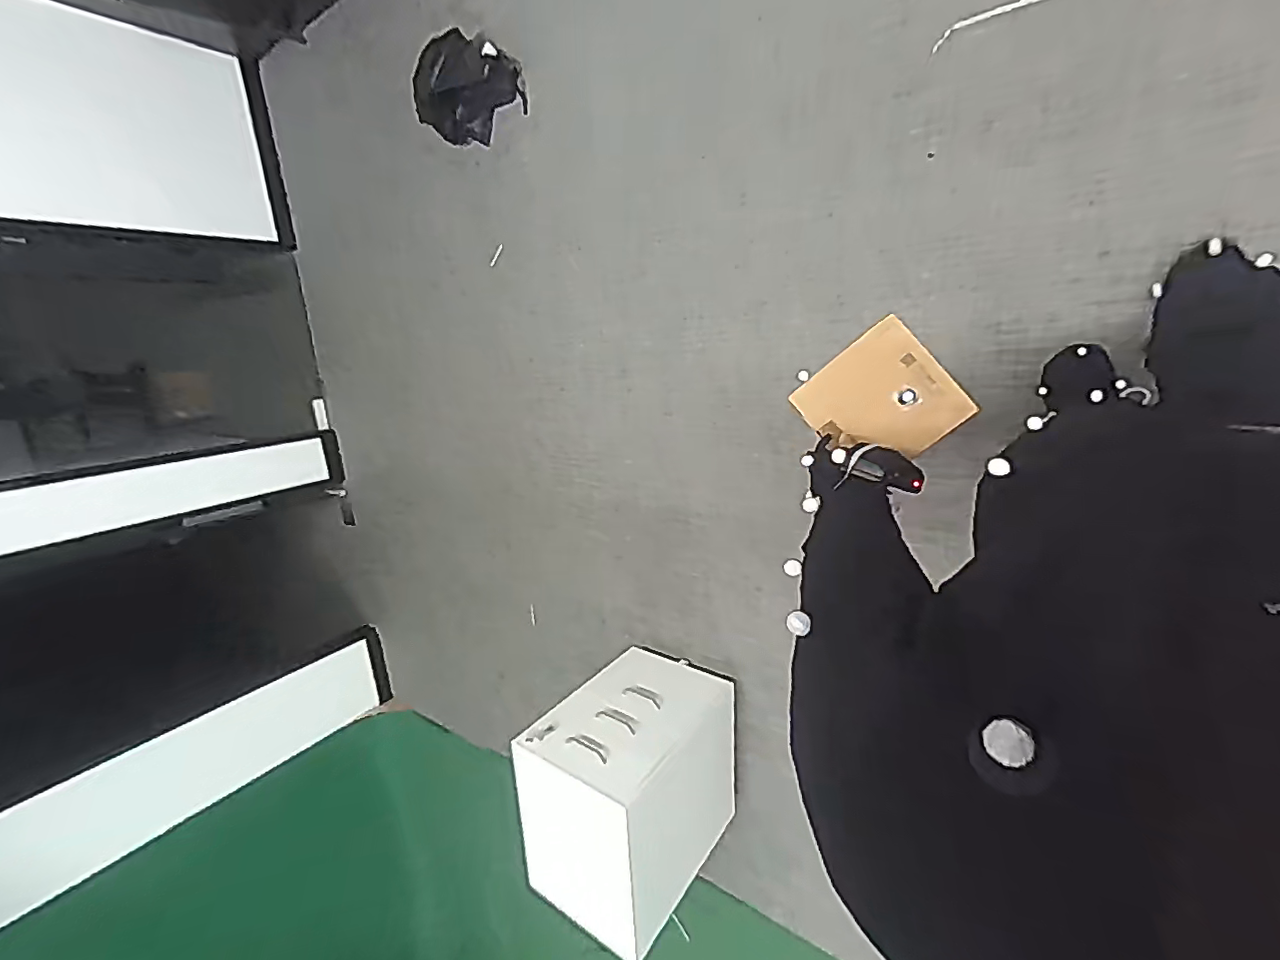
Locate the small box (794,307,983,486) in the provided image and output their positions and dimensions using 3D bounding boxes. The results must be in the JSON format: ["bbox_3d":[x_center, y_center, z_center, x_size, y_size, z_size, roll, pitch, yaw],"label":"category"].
[{"bbox_3d":[0.338,-0.116,0.761,0.176,0.179,0.168,-39,86,17],"label":"small box"}]
